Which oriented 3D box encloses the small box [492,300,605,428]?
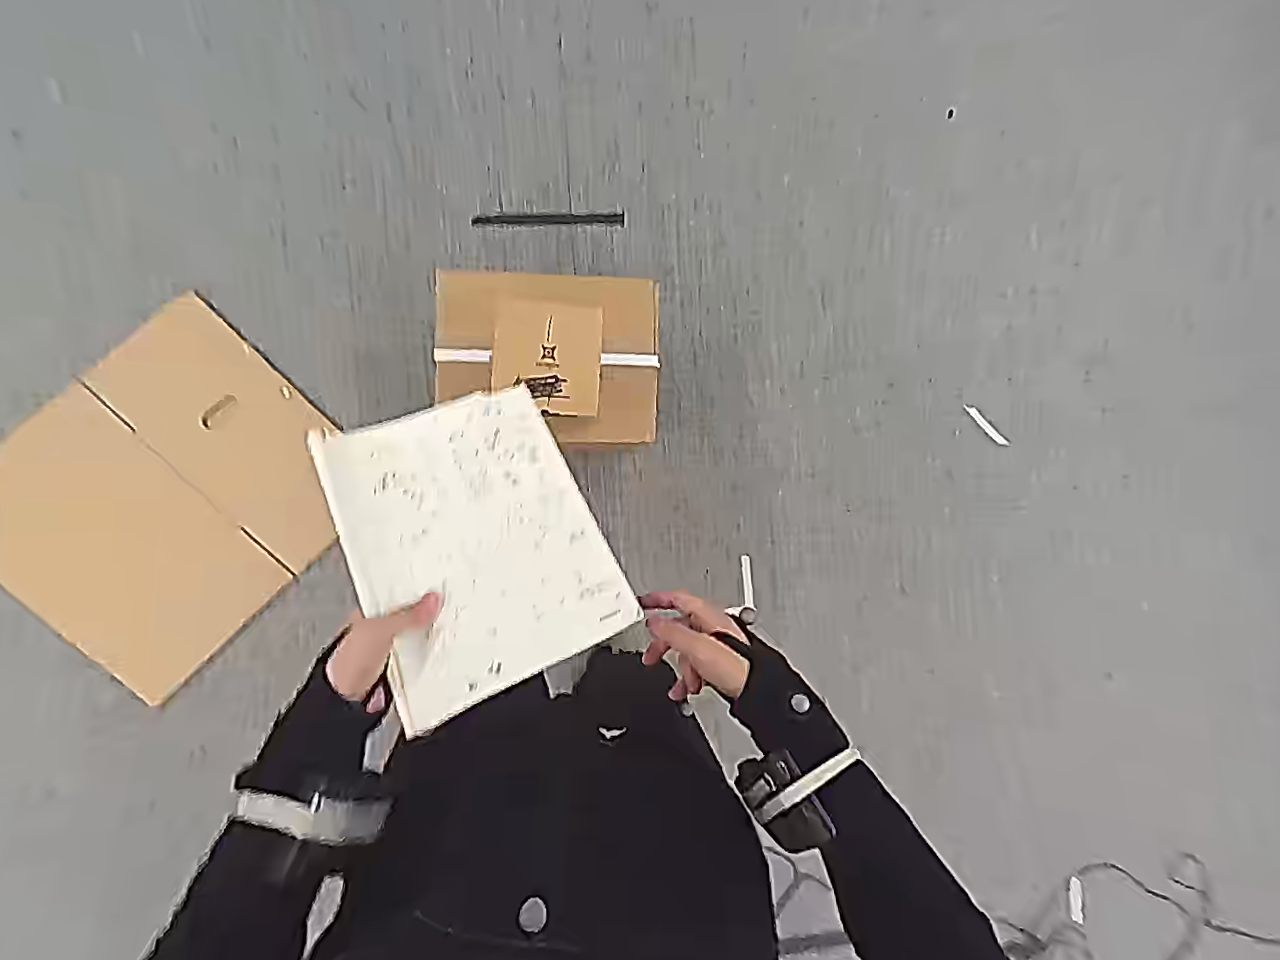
[{"bbox_3d":[-0.149,-0.183,0.907,0.168,0.176,0.179,3,90,-8],"label":"small box"}]
